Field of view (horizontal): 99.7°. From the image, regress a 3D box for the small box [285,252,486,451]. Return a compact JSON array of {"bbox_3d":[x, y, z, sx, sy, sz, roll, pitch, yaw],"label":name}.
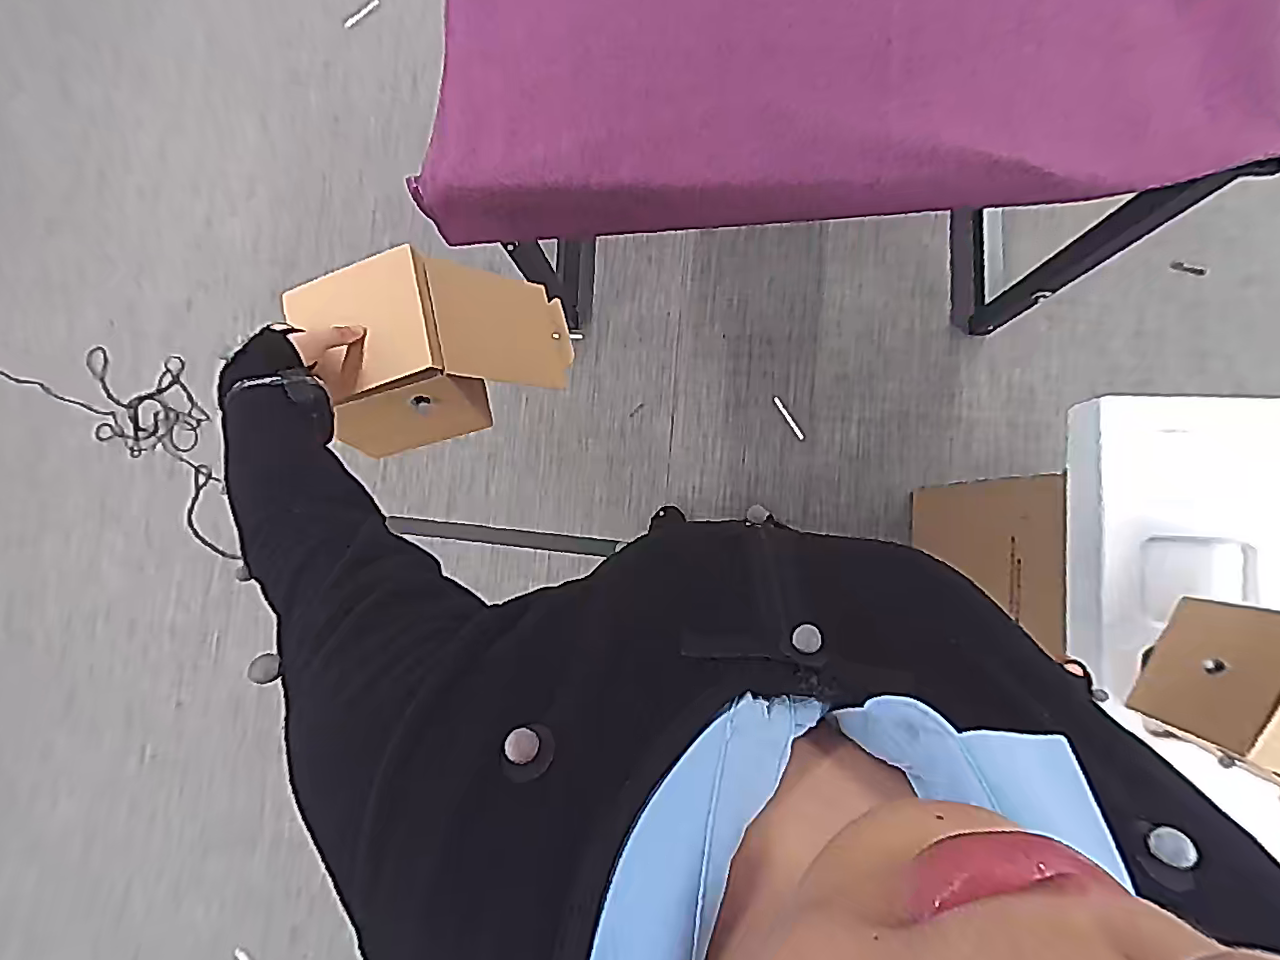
[{"bbox_3d":[-0.312,-0.153,0.696,0.179,0.176,0.168,-16,74,1],"label":"small box"}]
